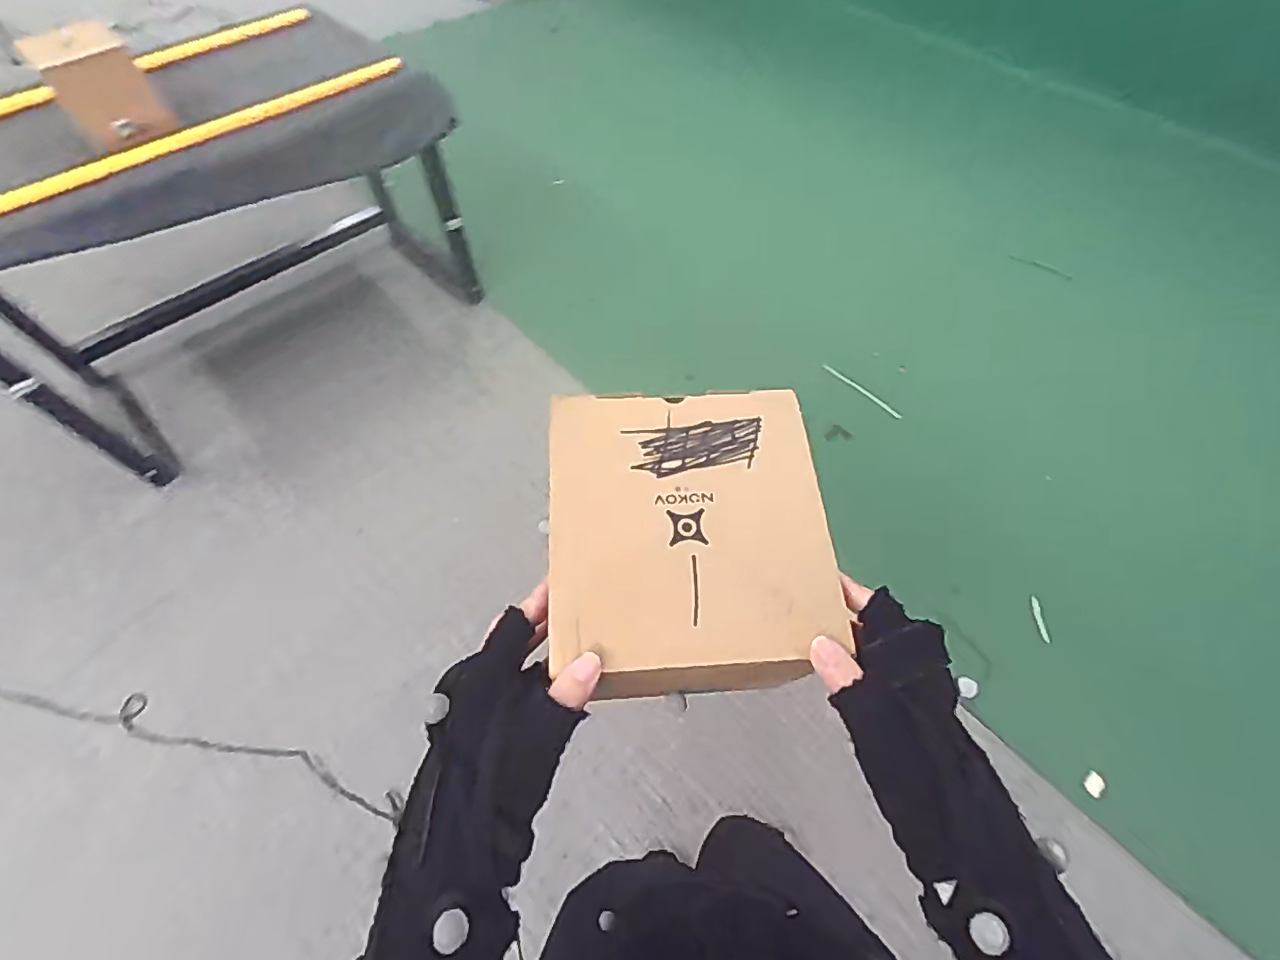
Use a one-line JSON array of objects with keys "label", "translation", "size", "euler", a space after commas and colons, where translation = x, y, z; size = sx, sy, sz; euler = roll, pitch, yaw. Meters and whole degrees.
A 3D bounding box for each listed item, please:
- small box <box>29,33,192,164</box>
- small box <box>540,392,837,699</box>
[{"label": "small box", "translation": [-1.150, -0.833, 1.186], "size": [0.179, 0.176, 0.168], "euler": [41, 68, 21]}, {"label": "small box", "translation": [0.019, 0.056, 0.400], "size": [0.168, 0.176, 0.179], "euler": [-4, 64, -3]}]
